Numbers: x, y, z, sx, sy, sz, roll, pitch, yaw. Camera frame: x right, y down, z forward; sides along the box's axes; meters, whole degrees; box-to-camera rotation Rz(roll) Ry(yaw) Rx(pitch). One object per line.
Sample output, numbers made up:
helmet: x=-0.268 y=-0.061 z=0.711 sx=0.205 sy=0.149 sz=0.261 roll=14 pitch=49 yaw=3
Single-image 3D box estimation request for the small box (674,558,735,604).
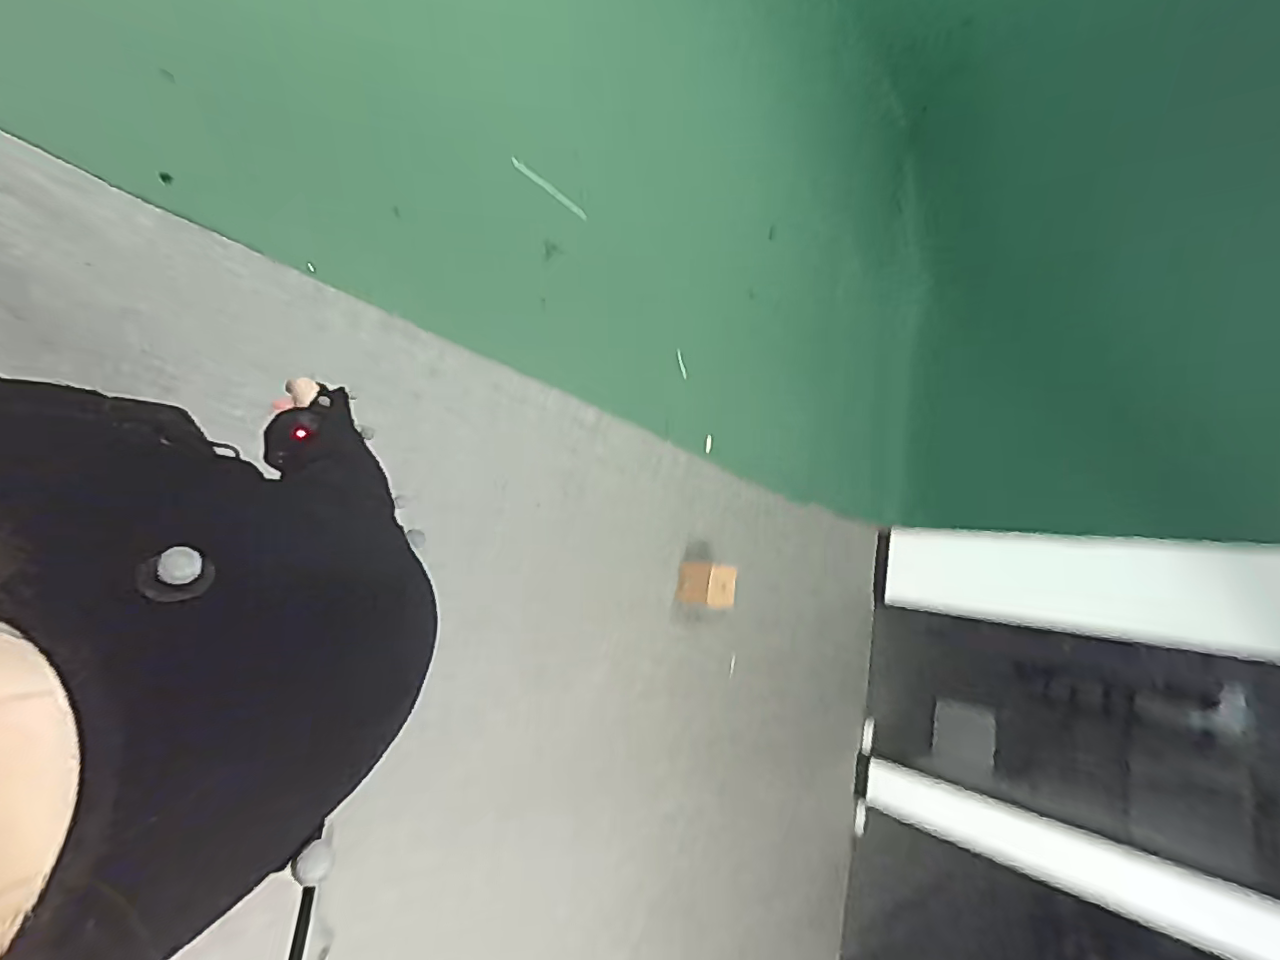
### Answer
small box: x=0.270 y=0.419 z=2.261 sx=0.179 sy=0.176 sz=0.168 roll=15 pitch=79 yaw=-43
